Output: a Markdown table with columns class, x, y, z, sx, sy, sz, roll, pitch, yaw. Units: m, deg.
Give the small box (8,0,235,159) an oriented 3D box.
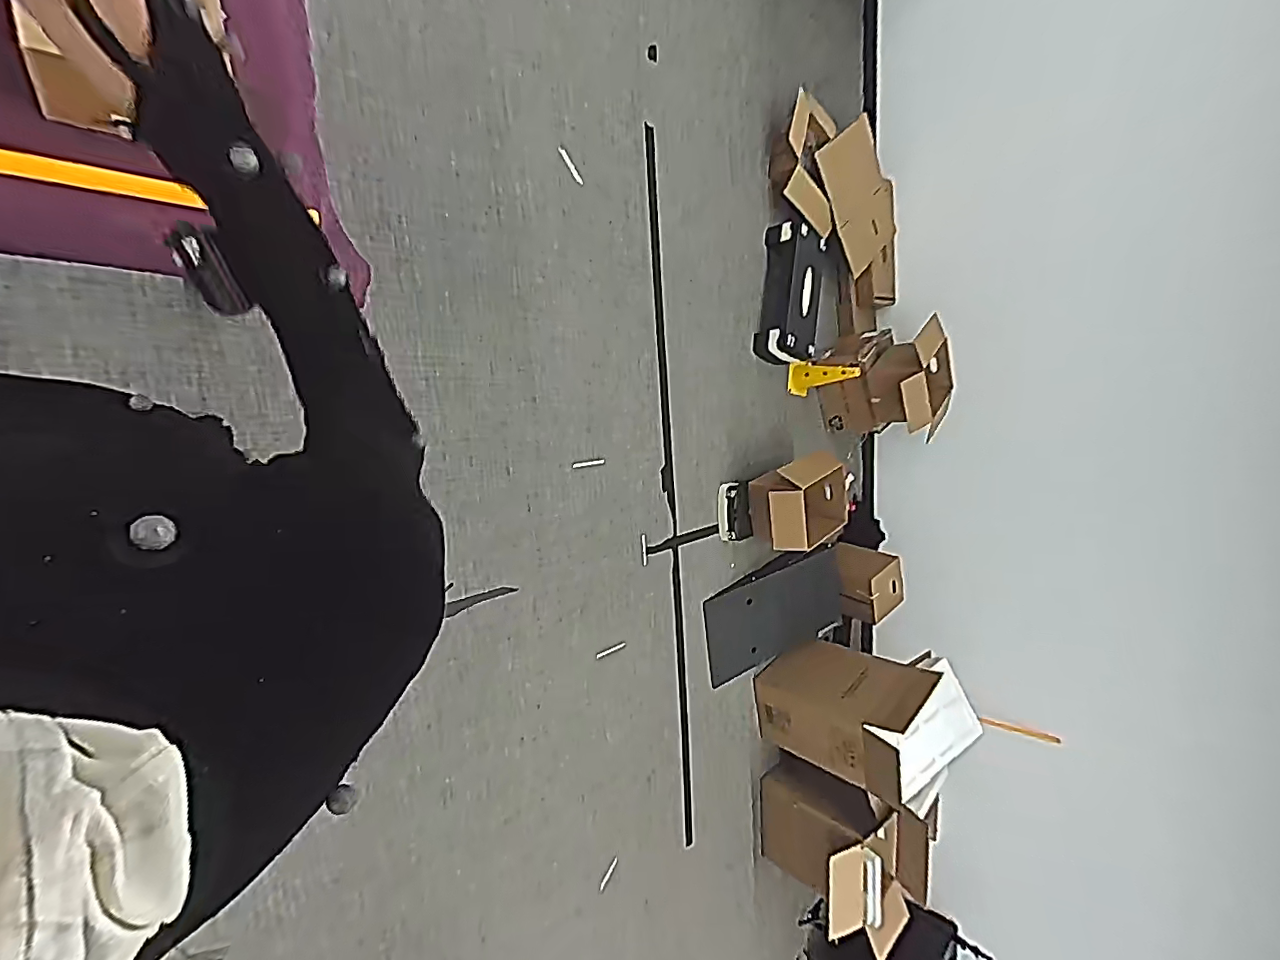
| class | x | y | z | sx | sy | sz | roll | pitch | yaw |
| --- | --- | --- | --- | --- | --- | --- | --- | --- | --- |
| small box | -0.569 | -0.495 | 0.596 | 0.168 | 0.176 | 0.179 | -12 | 100 | -40 |
